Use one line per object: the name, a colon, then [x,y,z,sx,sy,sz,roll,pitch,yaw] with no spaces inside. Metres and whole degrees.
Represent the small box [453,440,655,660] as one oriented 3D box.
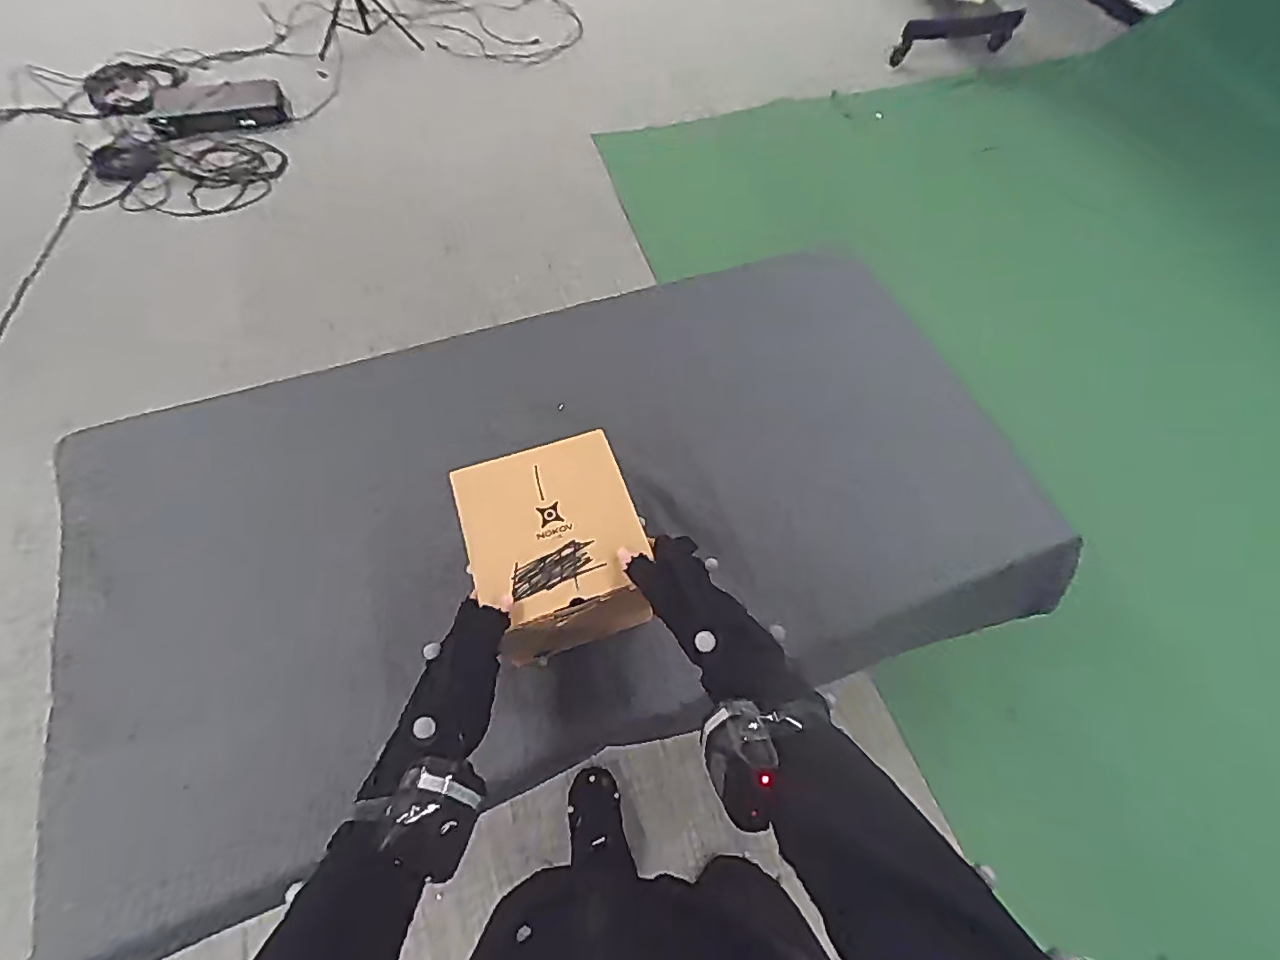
small box: [-0.091,0.088,0.602,0.168,0.176,0.179,-17,64,-12]
